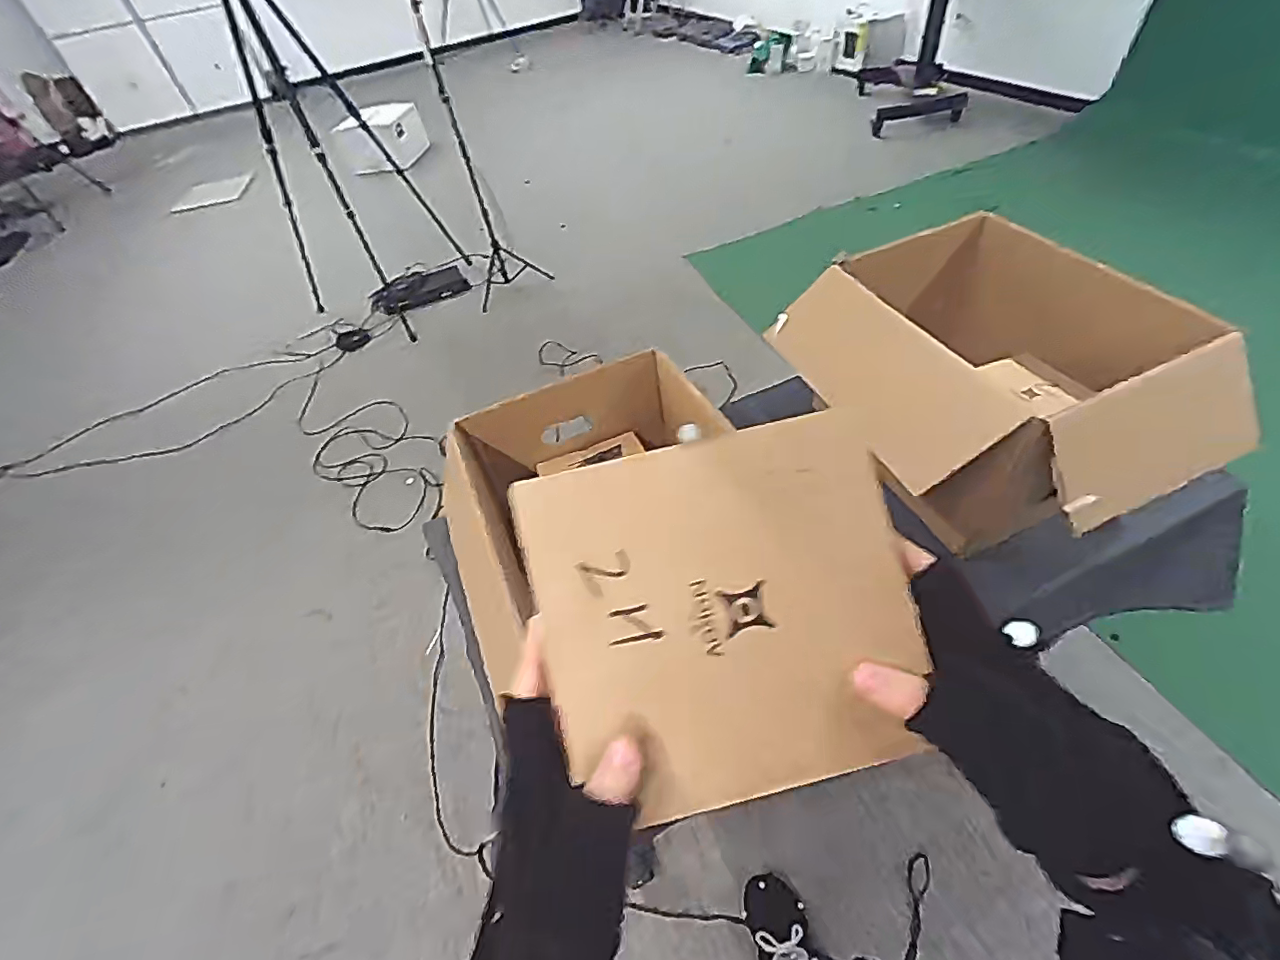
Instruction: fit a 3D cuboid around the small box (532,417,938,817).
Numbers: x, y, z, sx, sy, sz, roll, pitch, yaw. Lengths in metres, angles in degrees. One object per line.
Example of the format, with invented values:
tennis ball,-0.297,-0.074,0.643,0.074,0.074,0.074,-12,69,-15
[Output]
small box,0.042,0.070,0.343,0.179,0.176,0.168,-12,83,-3
